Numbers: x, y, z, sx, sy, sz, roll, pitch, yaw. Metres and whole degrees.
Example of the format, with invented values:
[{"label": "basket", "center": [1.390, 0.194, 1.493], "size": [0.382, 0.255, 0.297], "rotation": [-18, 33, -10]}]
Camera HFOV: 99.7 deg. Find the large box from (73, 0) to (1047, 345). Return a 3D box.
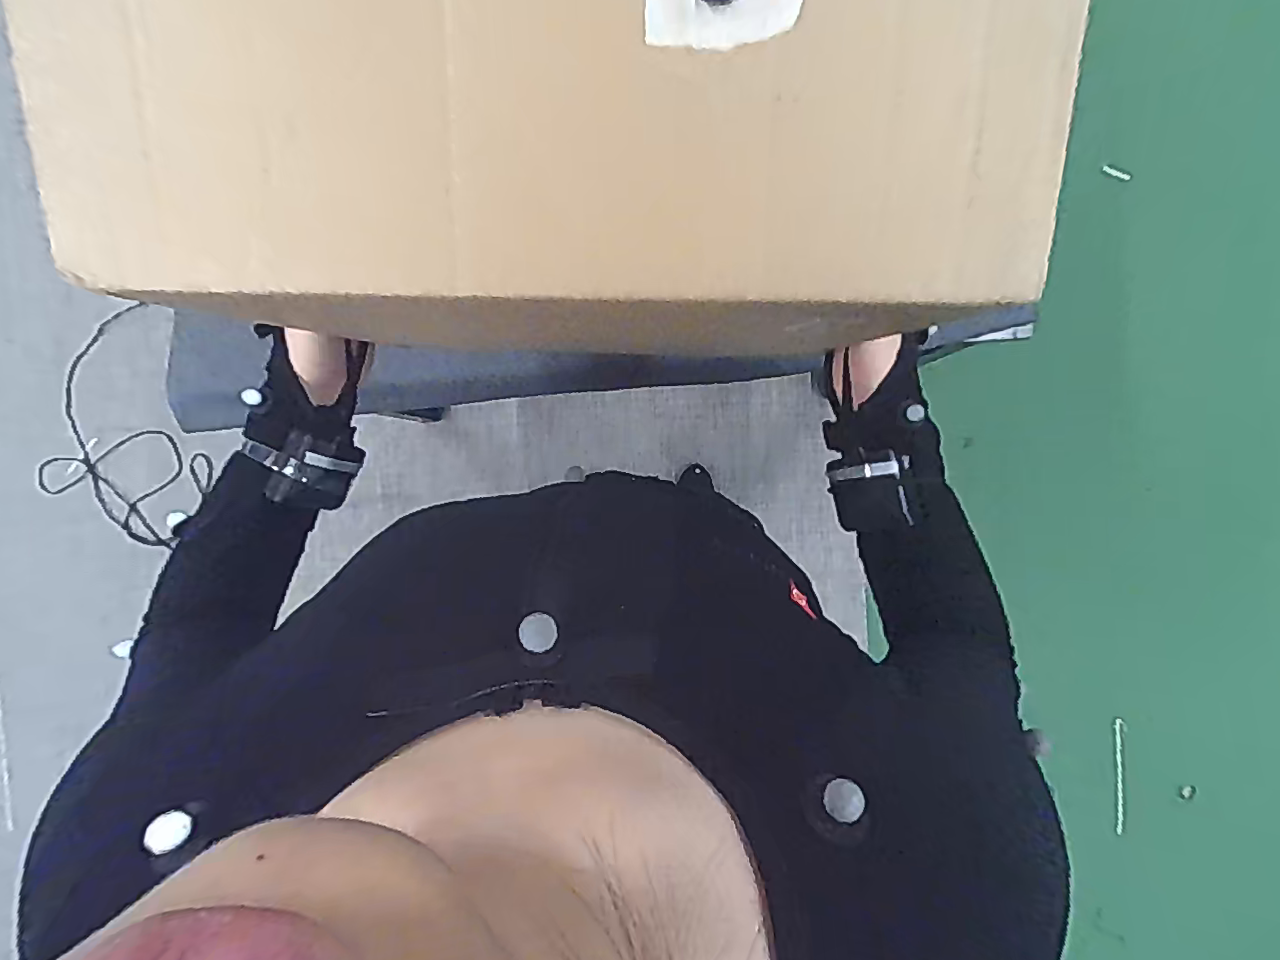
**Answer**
[{"label": "large box", "center": [-0.033, -0.263, 0.362], "size": [0.408, 0.320, 0.320], "rotation": [0, 100, 0]}]
